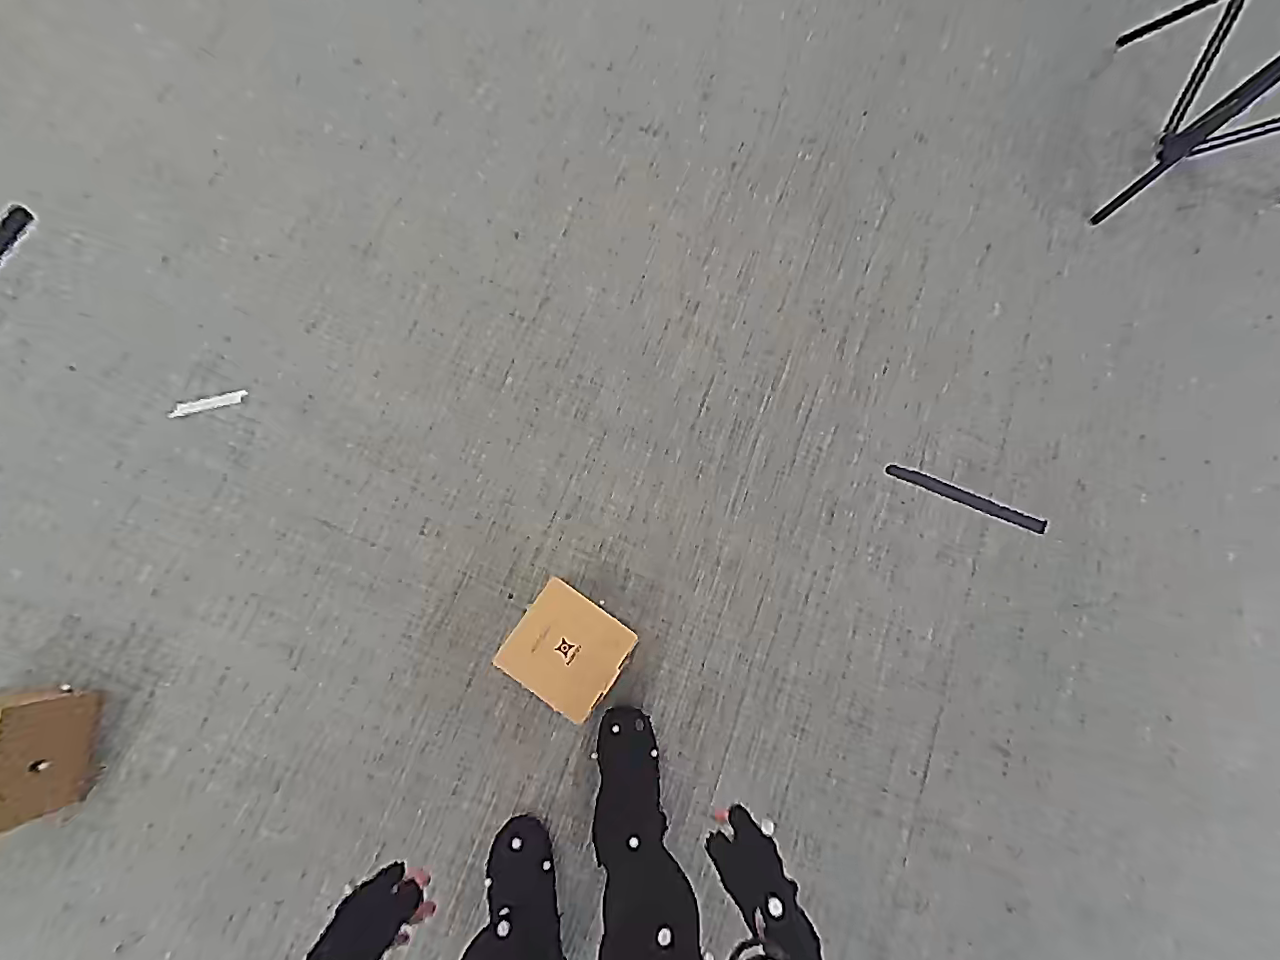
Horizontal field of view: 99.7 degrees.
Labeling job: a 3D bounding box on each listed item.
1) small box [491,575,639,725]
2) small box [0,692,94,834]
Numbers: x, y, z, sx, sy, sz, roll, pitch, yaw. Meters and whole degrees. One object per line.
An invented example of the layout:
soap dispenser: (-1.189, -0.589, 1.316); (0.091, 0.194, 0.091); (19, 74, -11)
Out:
small box: (-0.123, 0.281, 0.924); (0.179, 0.176, 0.168); (34, 75, 3)
small box: (-0.976, 0.417, 0.800); (0.168, 0.176, 0.179); (0, 78, -6)
